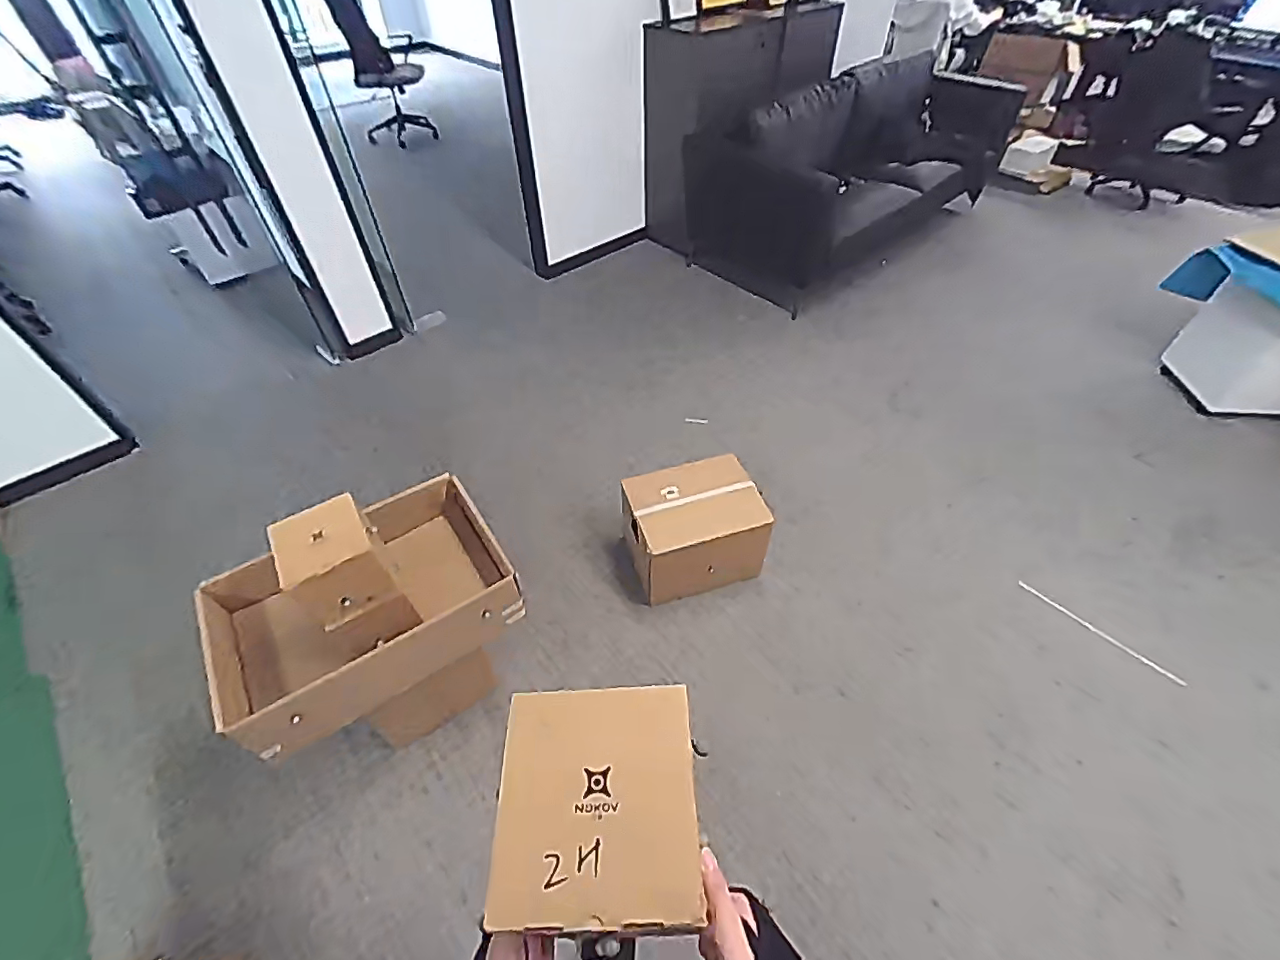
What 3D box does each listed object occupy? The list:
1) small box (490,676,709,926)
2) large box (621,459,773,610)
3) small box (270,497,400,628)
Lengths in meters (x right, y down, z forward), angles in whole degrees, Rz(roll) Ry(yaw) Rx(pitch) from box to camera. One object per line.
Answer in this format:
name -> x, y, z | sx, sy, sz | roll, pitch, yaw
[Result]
small box -> -0.026, 0.304, 0.511 | 0.168, 0.176, 0.179 | -4, 49, 3
large box -> 0.175, 0.182, 1.803 | 0.408, 0.320, 0.320 | -15, 49, -11
small box -> -0.629, 0.173, 1.125 | 0.168, 0.176, 0.179 | -27, 54, -21
